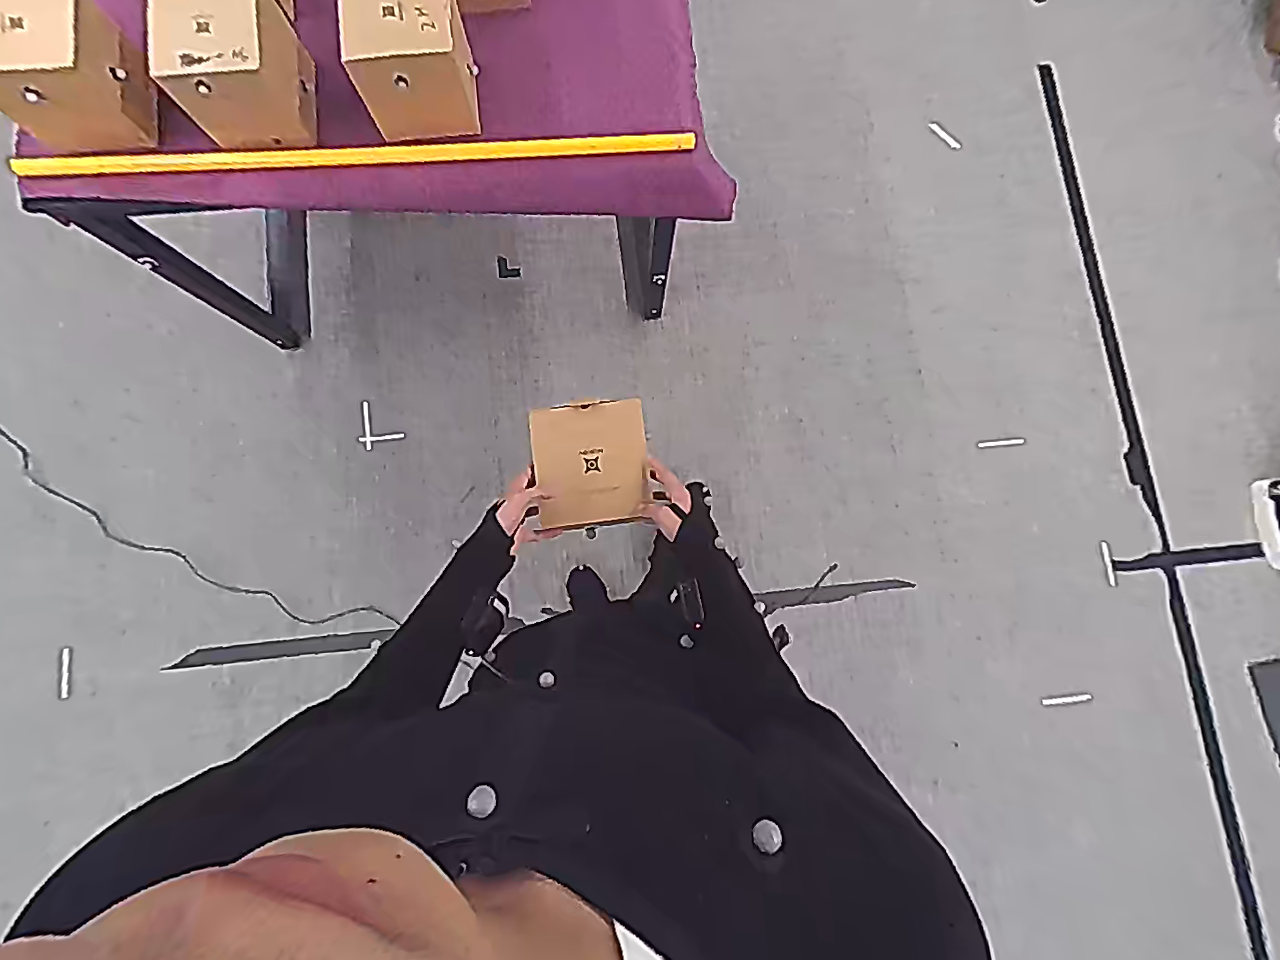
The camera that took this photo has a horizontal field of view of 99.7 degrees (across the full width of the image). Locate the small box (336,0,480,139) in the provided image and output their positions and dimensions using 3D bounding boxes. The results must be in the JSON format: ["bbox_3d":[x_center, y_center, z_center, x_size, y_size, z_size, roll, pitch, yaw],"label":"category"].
[{"bbox_3d":[-0.389,-0.719,0.926,0.179,0.176,0.168,-7,81,-3],"label":"small box"}]

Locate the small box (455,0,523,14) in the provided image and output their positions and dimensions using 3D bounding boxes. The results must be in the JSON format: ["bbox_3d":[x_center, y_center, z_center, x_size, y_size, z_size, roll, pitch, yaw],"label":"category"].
[{"bbox_3d":[-0.301,-0.985,0.964,0.179,0.176,0.168,-8,84,-2],"label":"small box"}]

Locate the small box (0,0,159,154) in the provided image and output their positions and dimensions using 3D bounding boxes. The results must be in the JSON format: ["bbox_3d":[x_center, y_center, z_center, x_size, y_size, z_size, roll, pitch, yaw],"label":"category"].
[{"bbox_3d":[-0.953,-0.678,0.900,0.179,0.176,0.168,-6,82,-3],"label":"small box"}]

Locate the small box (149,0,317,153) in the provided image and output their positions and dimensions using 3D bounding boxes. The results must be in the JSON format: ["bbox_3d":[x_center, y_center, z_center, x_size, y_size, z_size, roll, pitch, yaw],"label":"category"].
[{"bbox_3d":[-0.674,-0.693,0.914,0.168,0.176,0.179,-6,83,-2],"label":"small box"}]

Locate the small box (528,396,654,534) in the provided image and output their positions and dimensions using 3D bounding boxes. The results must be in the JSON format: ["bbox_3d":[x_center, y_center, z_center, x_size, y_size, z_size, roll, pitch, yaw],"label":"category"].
[{"bbox_3d":[-0.075,-0.016,0.843,0.168,0.176,0.179,-7,82,-3],"label":"small box"}]
